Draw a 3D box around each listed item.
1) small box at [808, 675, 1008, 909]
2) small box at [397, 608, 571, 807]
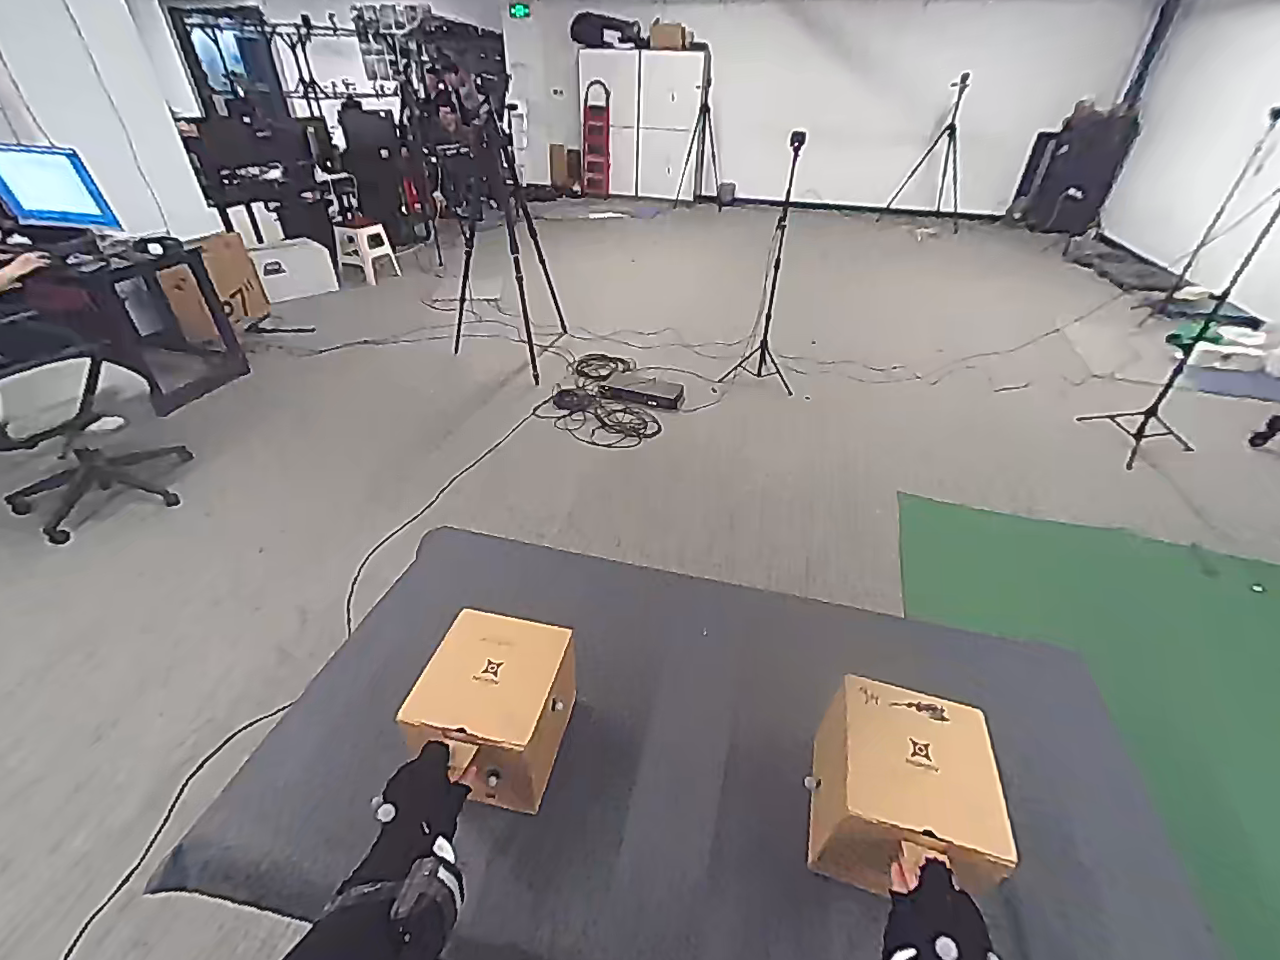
[{"bbox_3d":[0.309,0.380,0.662,0.168,0.176,0.179,13,38,12],"label":"small box"},{"bbox_3d":[-0.194,0.308,0.737,0.168,0.176,0.179,10,35,7],"label":"small box"}]
